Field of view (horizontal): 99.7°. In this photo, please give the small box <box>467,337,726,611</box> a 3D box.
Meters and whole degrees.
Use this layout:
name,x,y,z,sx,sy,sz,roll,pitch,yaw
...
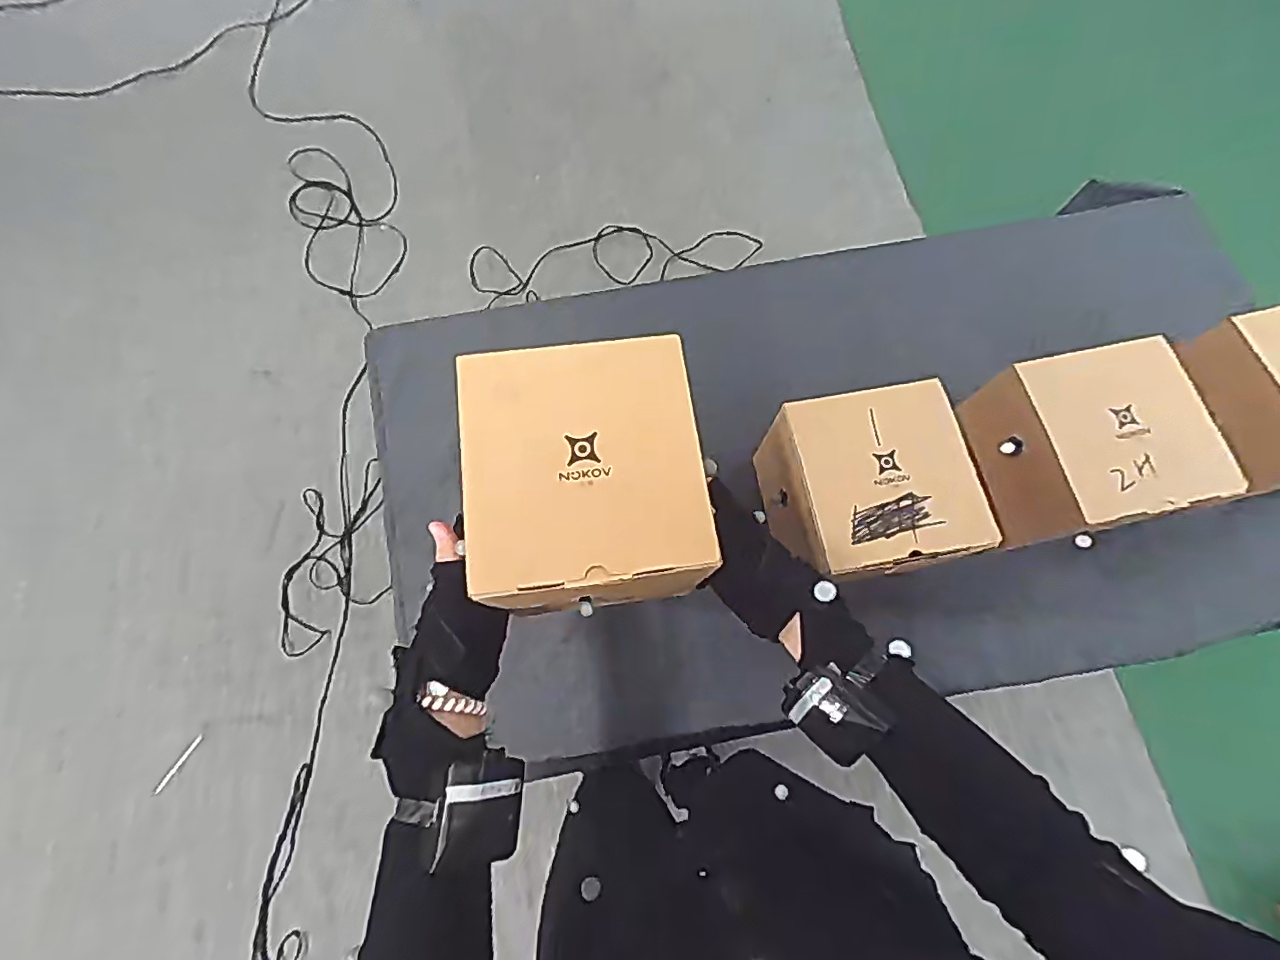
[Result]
name,x,y,z,sx,sy,sz,roll,pitch,yaw
small box,-0.040,0.006,0.449,0.168,0.176,0.179,-7,74,-6

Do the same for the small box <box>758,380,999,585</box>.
name,x,y,z,sx,sy,sz,roll,pitch,yaw
small box,0.241,0.016,0.596,0.168,0.176,0.179,-9,72,-2

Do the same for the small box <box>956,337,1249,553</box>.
name,x,y,z,sx,sy,sz,roll,pitch,yaw
small box,0.479,-0.029,0.606,0.168,0.176,0.179,-11,73,-2
